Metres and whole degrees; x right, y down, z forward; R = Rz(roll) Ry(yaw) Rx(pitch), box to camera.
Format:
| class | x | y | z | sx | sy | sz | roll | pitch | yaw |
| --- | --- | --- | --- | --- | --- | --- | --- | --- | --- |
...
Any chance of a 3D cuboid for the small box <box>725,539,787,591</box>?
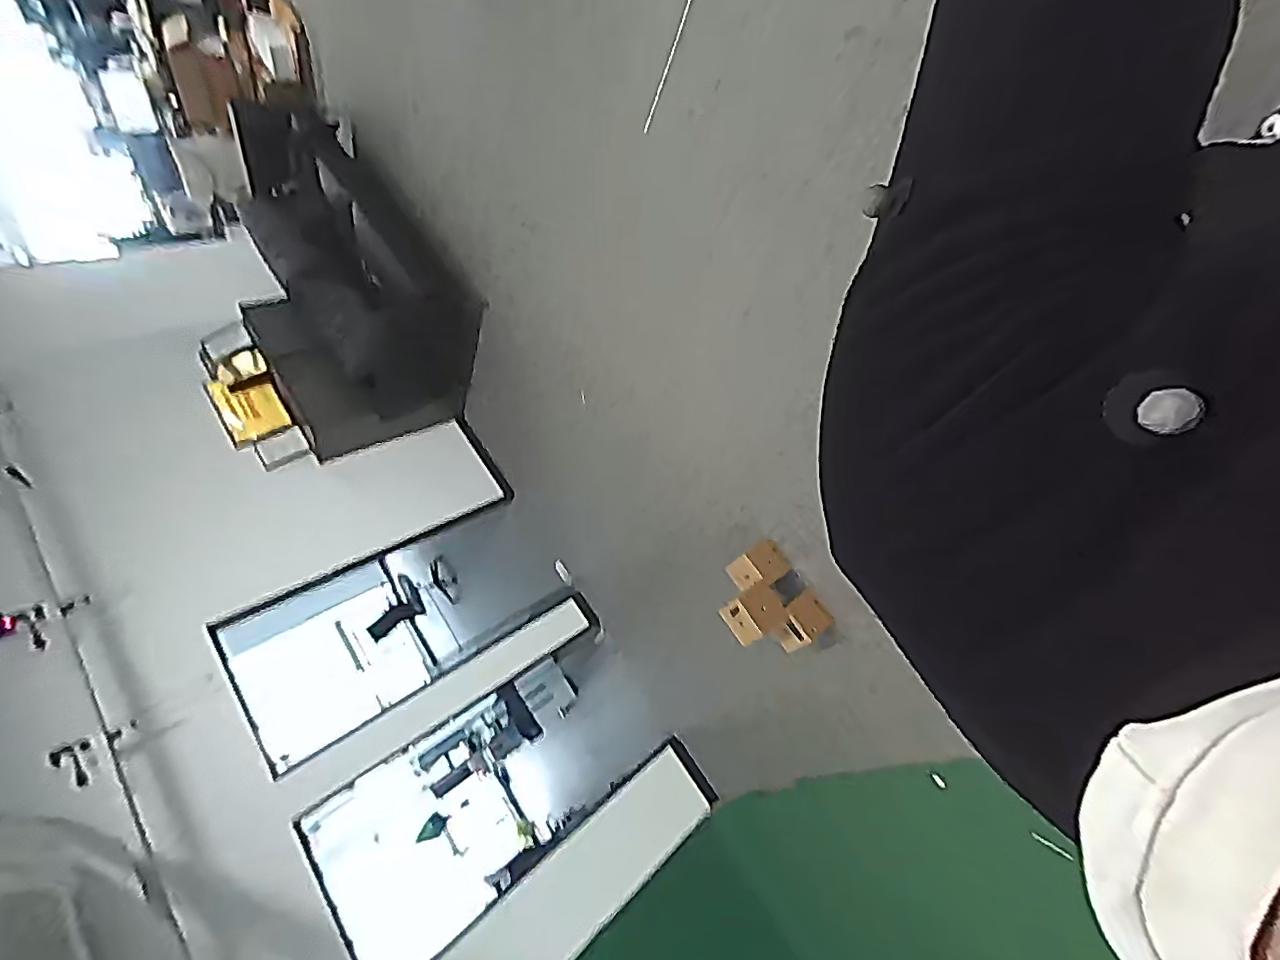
| class | x | y | z | sx | sy | sz | roll | pitch | yaw |
| --- | --- | --- | --- | --- | --- | --- | --- | --- | --- |
| small box | 0.505 | 0.378 | 2.324 | 0.168 | 0.176 | 0.179 | 54 | 144 | 14 |

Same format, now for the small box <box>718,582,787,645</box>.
| class | x | y | z | sx | sy | sz | roll | pitch | yaw |
| --- | --- | --- | --- | --- | --- | --- | --- | --- | --- |
| small box | 0.457 | 0.535 | 2.198 | 0.179 | 0.176 | 0.168 | 54 | 144 | 12 |
